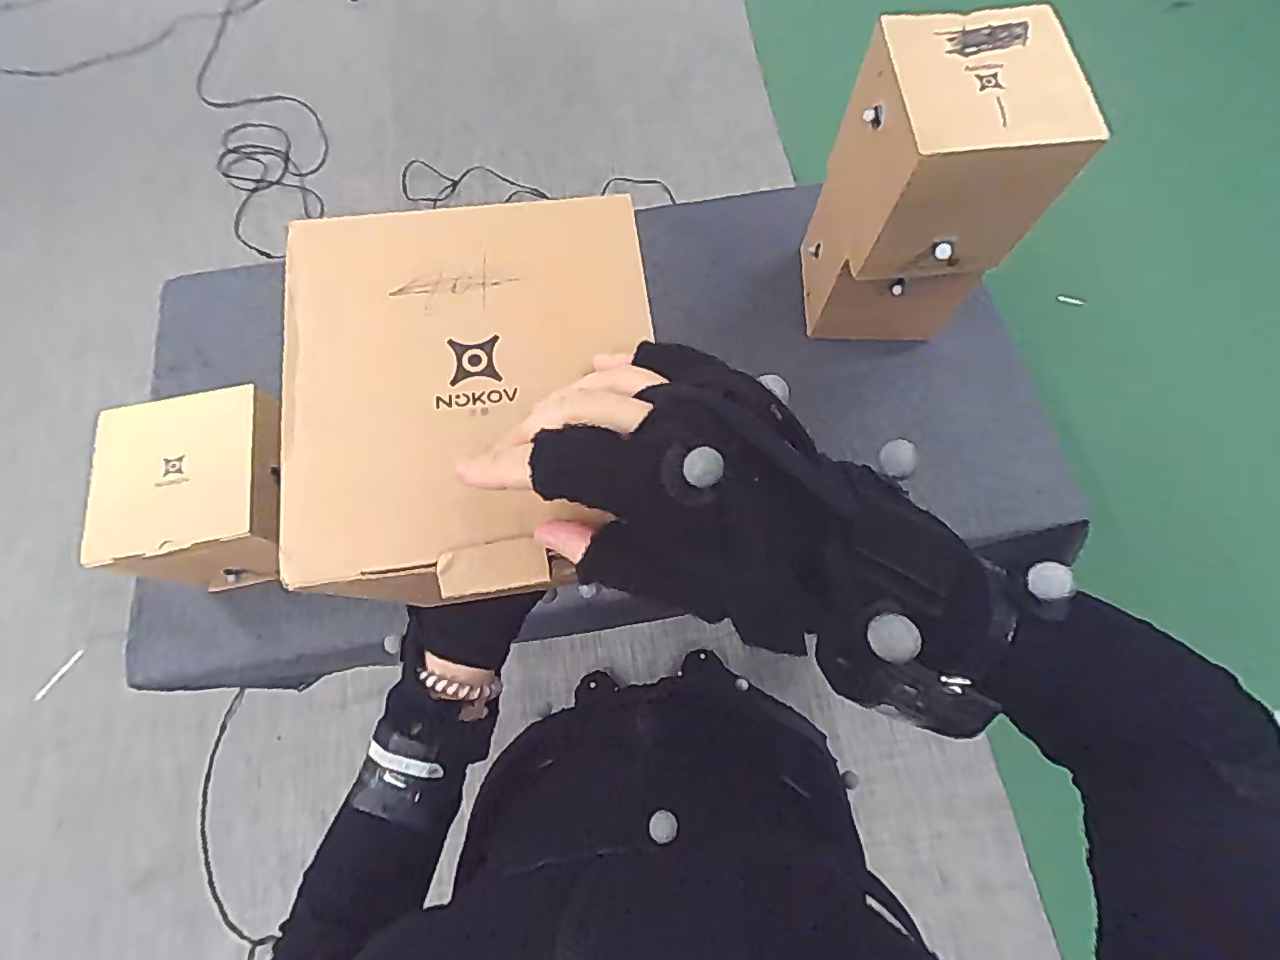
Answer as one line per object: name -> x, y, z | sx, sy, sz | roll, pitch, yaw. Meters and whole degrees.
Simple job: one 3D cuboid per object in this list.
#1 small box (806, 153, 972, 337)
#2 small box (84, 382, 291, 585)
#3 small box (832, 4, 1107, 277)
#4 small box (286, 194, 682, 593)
small box -> 0.328, -0.307, 0.727 | 0.179, 0.176, 0.168 | 2, 72, 2
small box -> -0.479, 0.013, 0.635 | 0.168, 0.176, 0.179 | -11, 71, -3
small box -> 0.316, -0.342, 0.565 | 0.168, 0.176, 0.179 | -4, 72, 1
small box -> -0.074, -0.030, 0.319 | 0.168, 0.176, 0.179 | -7, 75, -5
